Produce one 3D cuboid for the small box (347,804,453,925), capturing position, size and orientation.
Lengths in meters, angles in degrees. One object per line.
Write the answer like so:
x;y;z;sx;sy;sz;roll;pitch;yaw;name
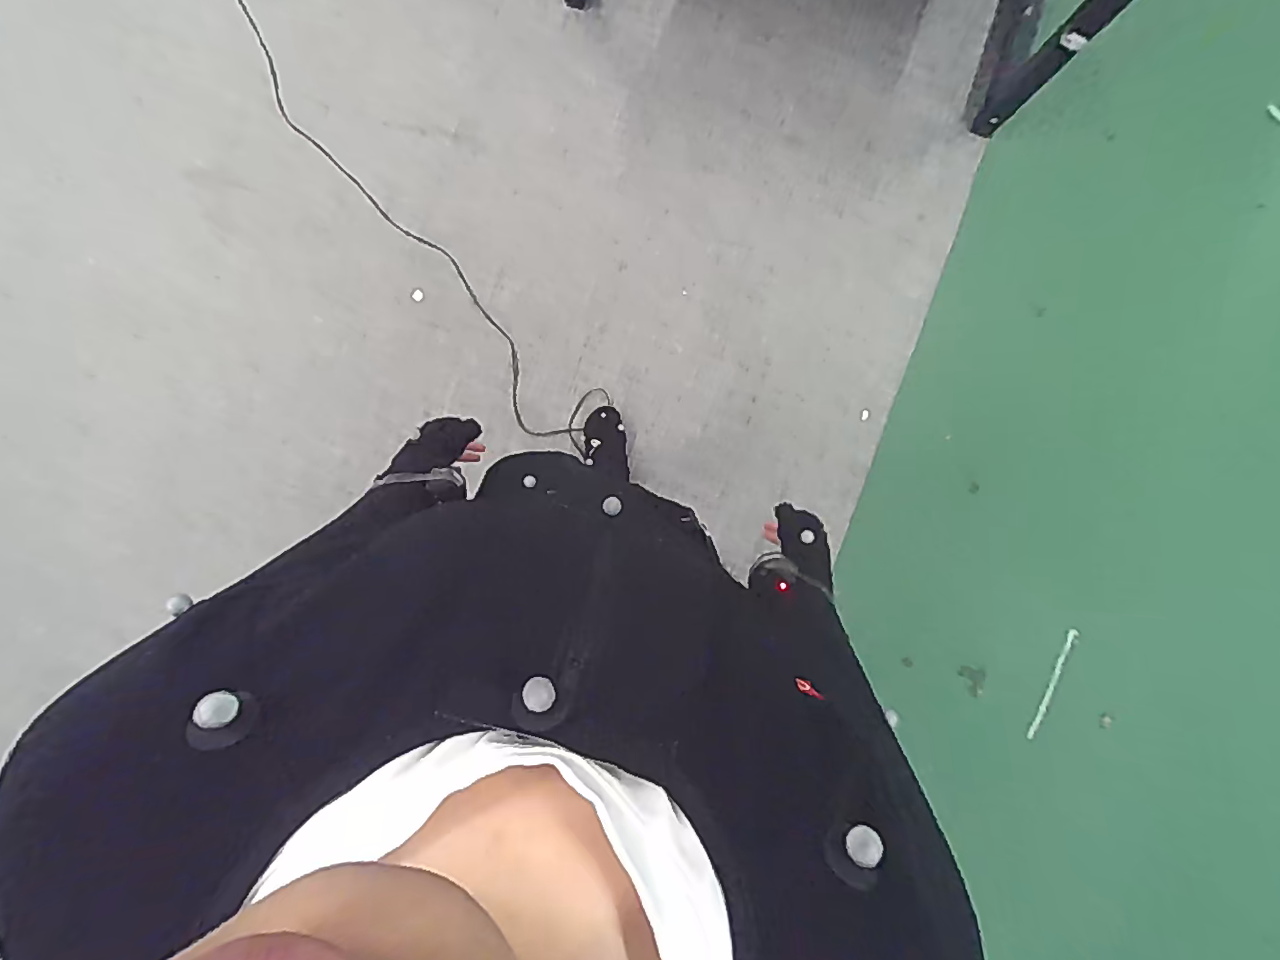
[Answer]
-0.591;0.952;1.355;0.179;0.176;0.168;15;92;0;small box
